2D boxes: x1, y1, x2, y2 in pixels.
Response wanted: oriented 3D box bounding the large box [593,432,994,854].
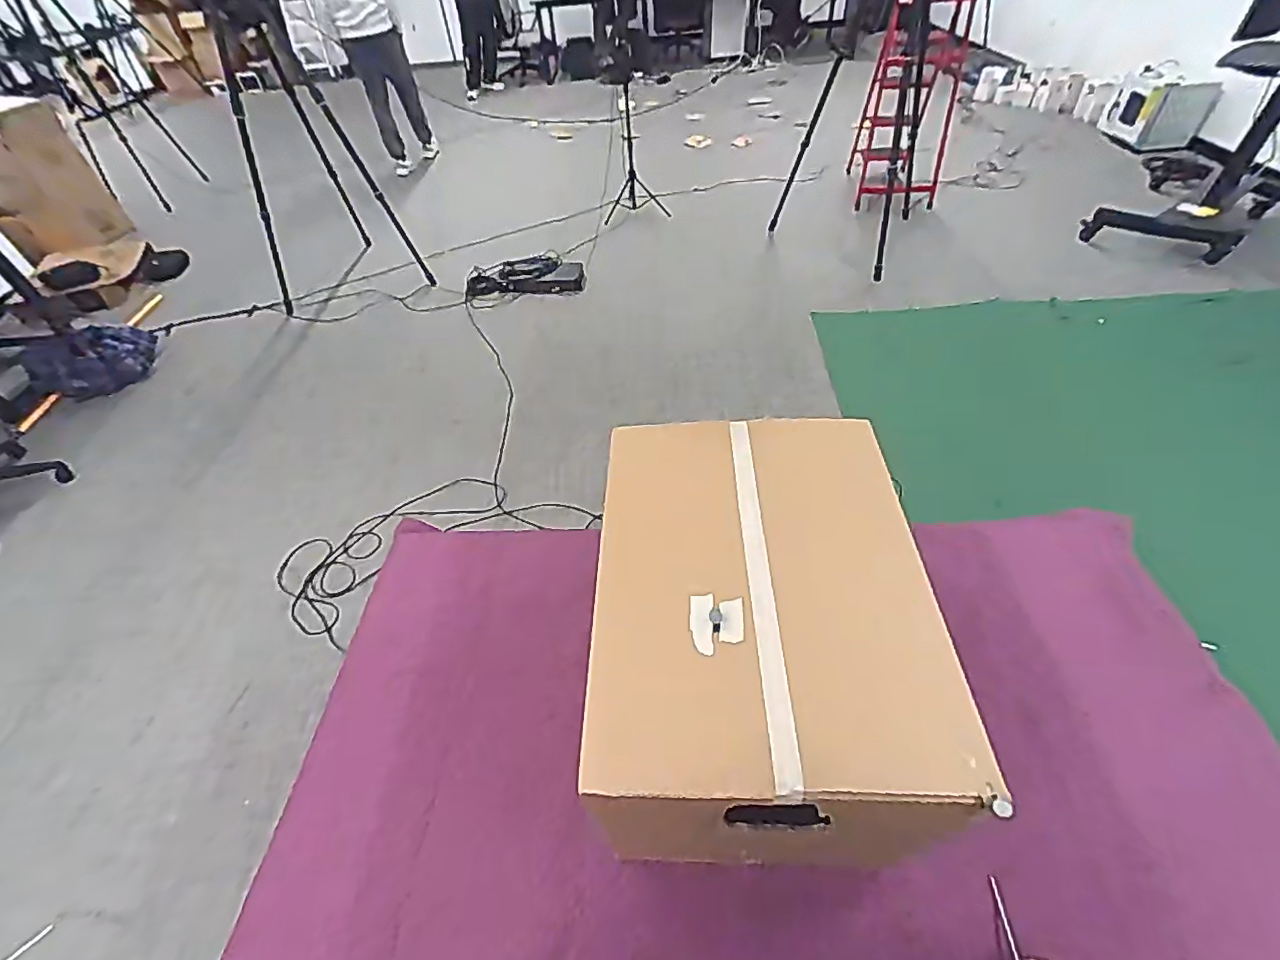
[{"bbox_3d":[0.126,0.188,0.654,0.320,0.320,0.408,-1,49,4],"label":"large box"}]
